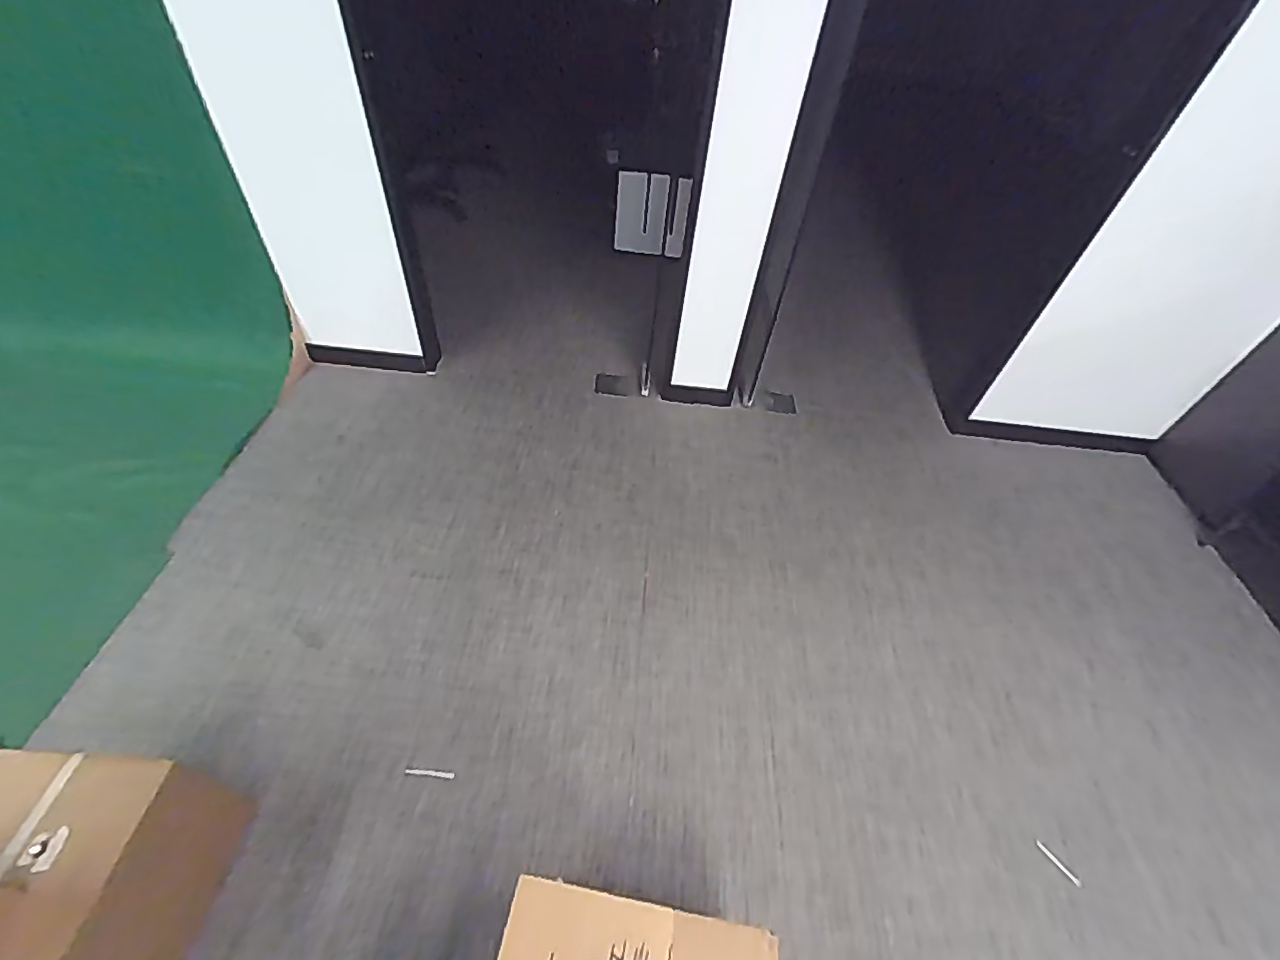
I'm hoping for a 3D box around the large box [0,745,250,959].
[{"bbox_3d":[-0.965,0.710,0.896,0.320,0.320,0.408,6,46,-2],"label":"large box"}]

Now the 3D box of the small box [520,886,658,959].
[{"bbox_3d":[-0.077,0.669,0.710,0.168,0.176,0.179,11,45,2],"label":"small box"}]
